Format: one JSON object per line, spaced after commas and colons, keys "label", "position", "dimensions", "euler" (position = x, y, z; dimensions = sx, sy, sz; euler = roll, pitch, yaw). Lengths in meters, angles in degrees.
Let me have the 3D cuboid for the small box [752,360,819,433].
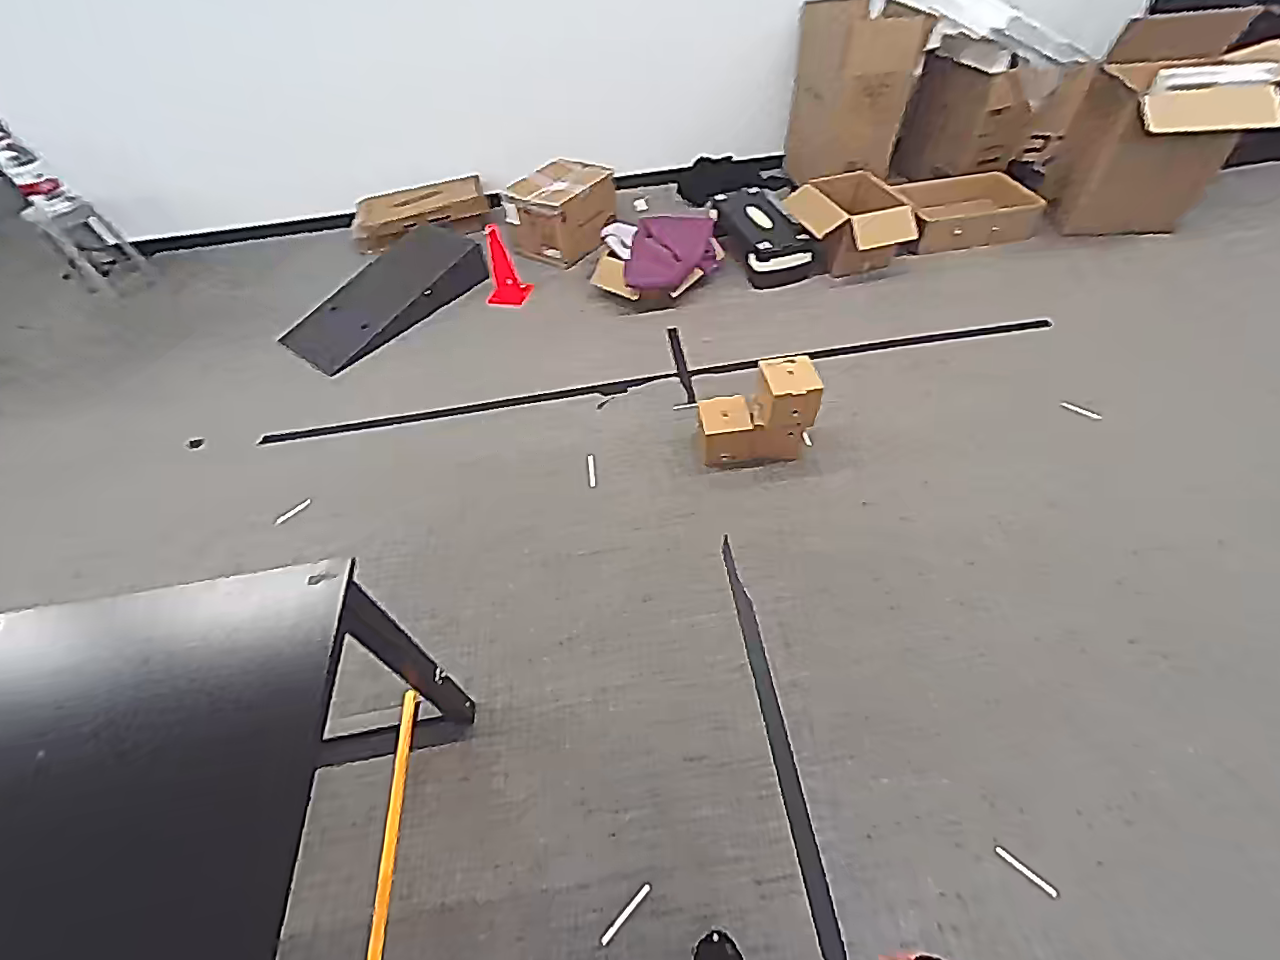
{"label": "small box", "position": [0.480, -0.273, 1.809], "dimensions": [0.168, 0.176, 0.179], "euler": [-8, 51, -2]}
